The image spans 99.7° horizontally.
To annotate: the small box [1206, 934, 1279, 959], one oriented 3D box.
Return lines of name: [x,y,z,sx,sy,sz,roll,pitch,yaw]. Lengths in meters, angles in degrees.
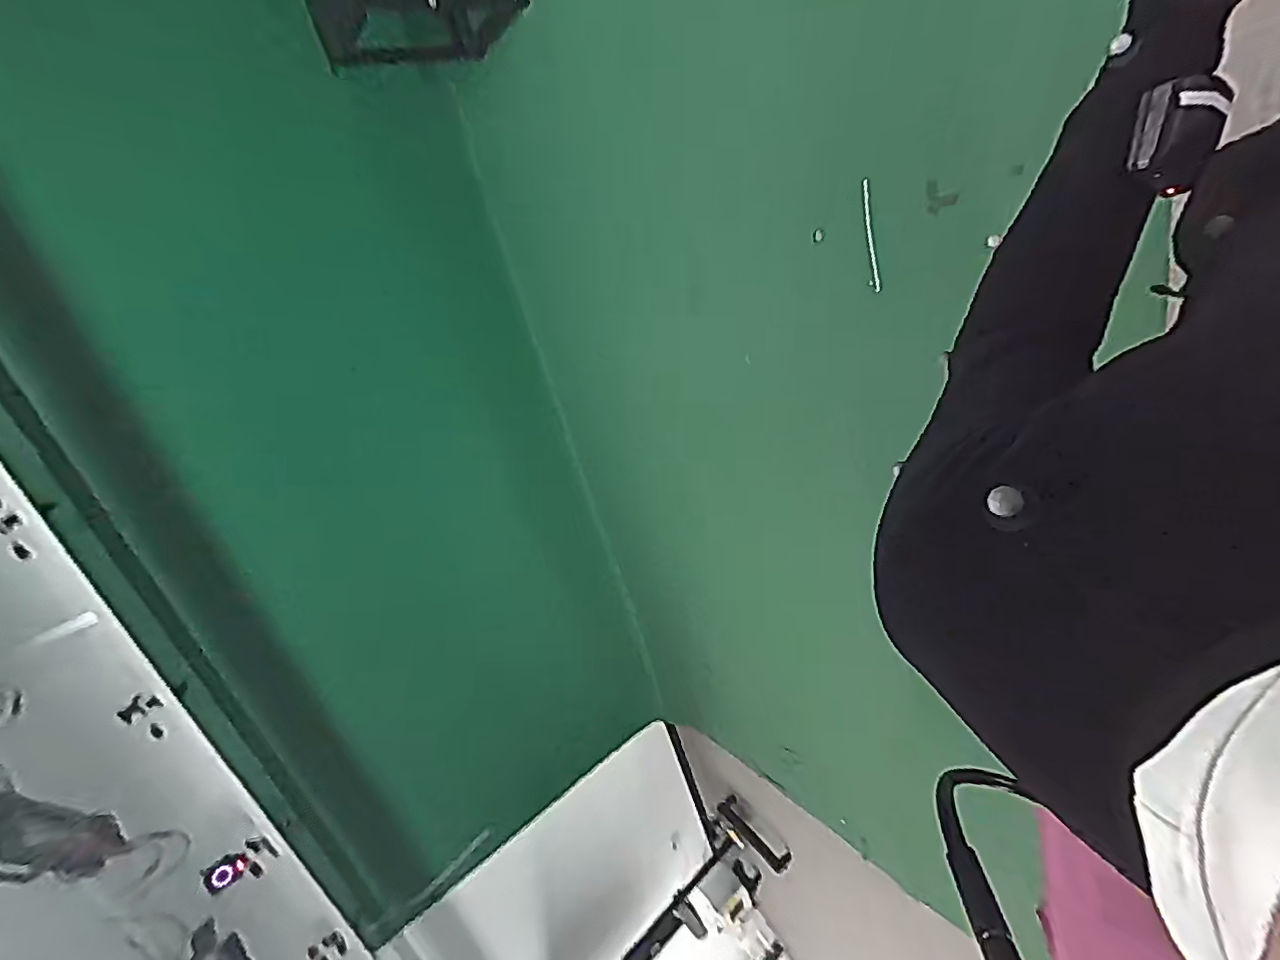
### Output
small box: [1.009,0.879,0.857,0.179,0.176,0.168,15,127,50]
